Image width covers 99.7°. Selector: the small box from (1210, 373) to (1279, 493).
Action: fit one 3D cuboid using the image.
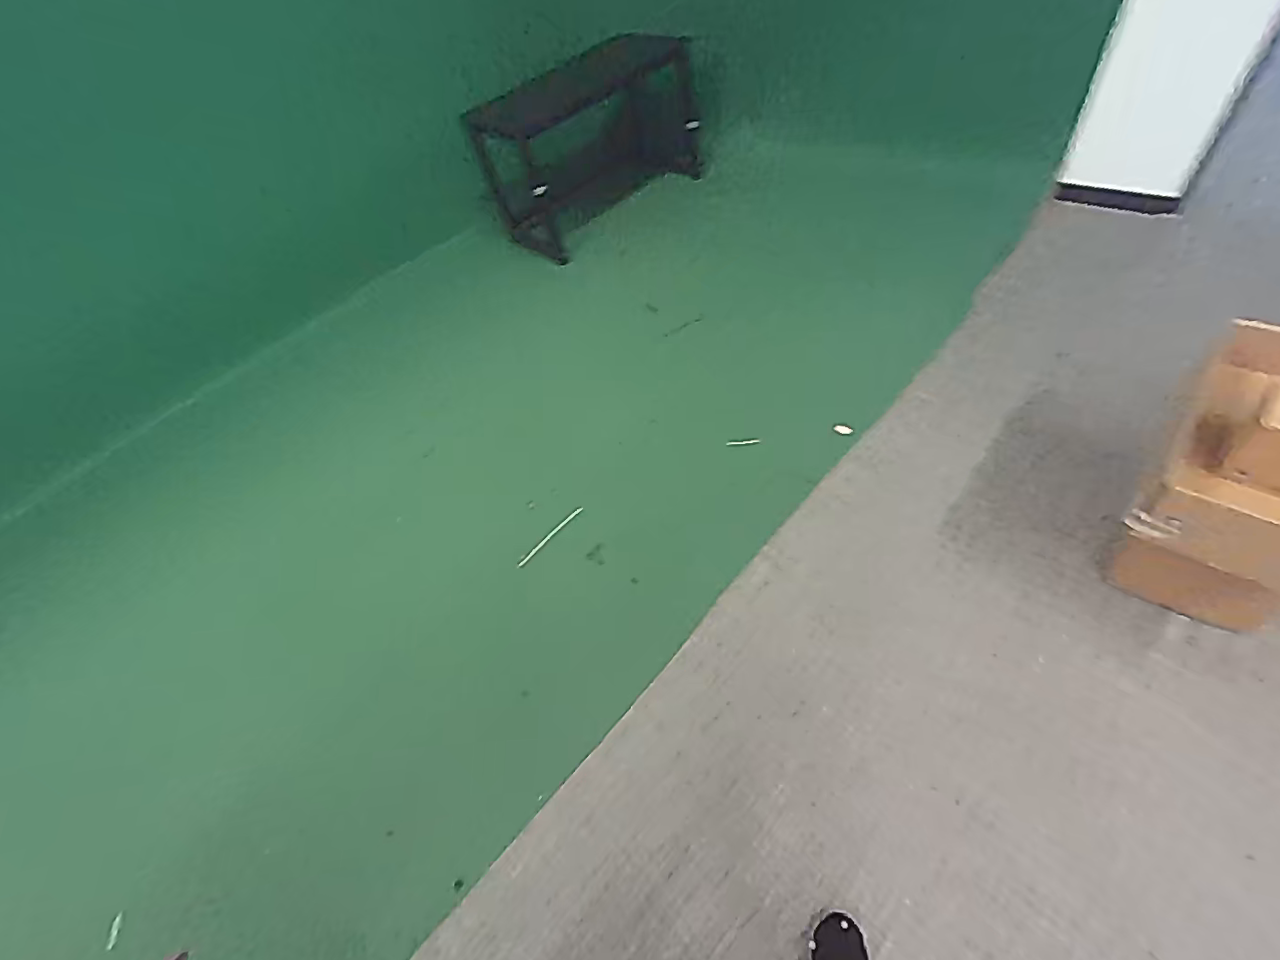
[{"bbox_3d":[1.397,-0.093,1.167,0.168,0.176,0.179,30,63,31],"label":"small box"}]
